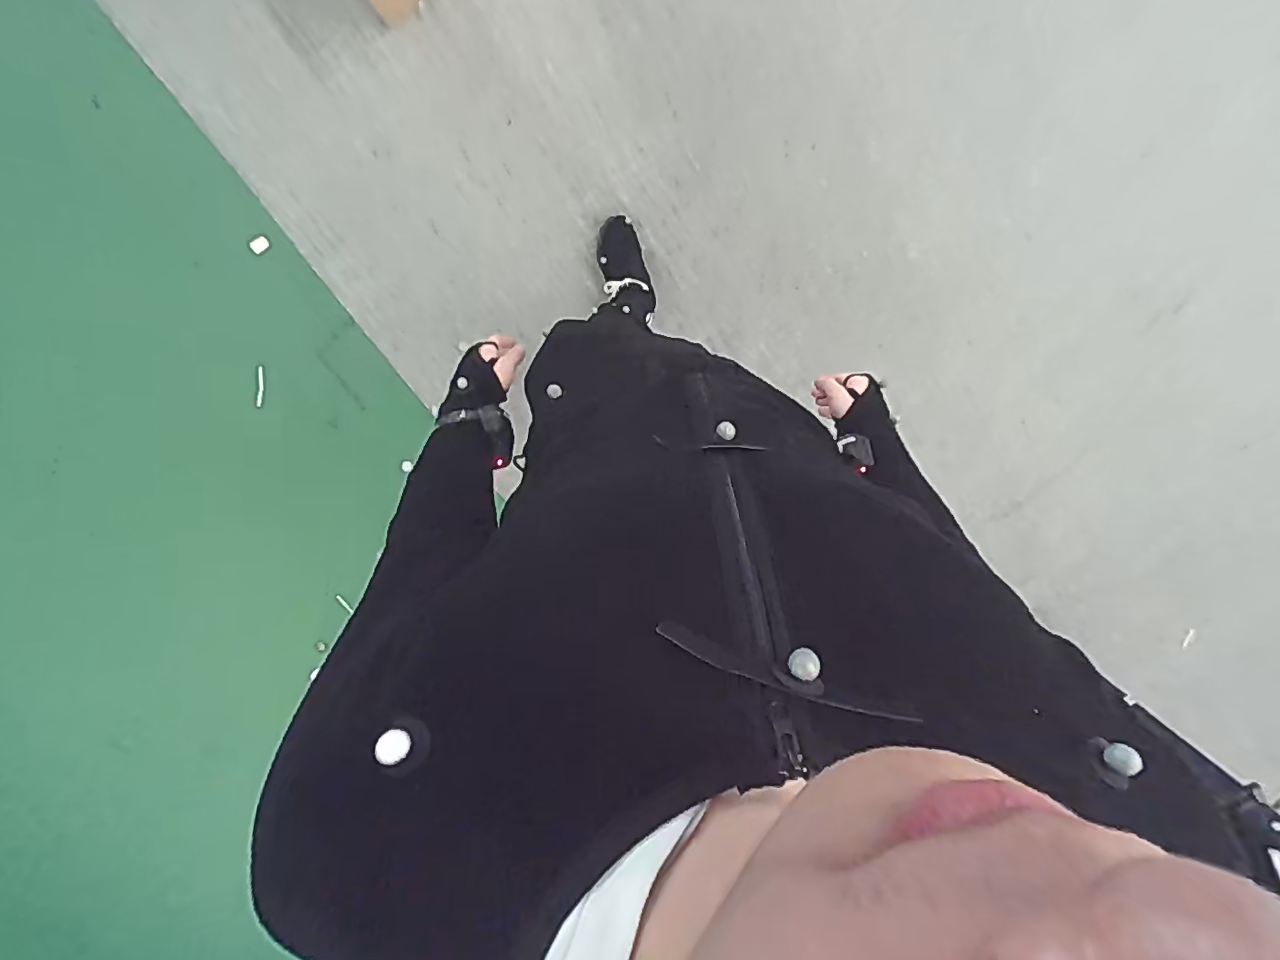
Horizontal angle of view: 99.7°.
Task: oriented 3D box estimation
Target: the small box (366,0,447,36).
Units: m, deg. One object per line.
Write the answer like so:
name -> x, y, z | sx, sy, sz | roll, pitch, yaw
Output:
small box -> -0.531, -1.111, 1.151 | 0.179, 0.176, 0.168 | -30, 107, 7
